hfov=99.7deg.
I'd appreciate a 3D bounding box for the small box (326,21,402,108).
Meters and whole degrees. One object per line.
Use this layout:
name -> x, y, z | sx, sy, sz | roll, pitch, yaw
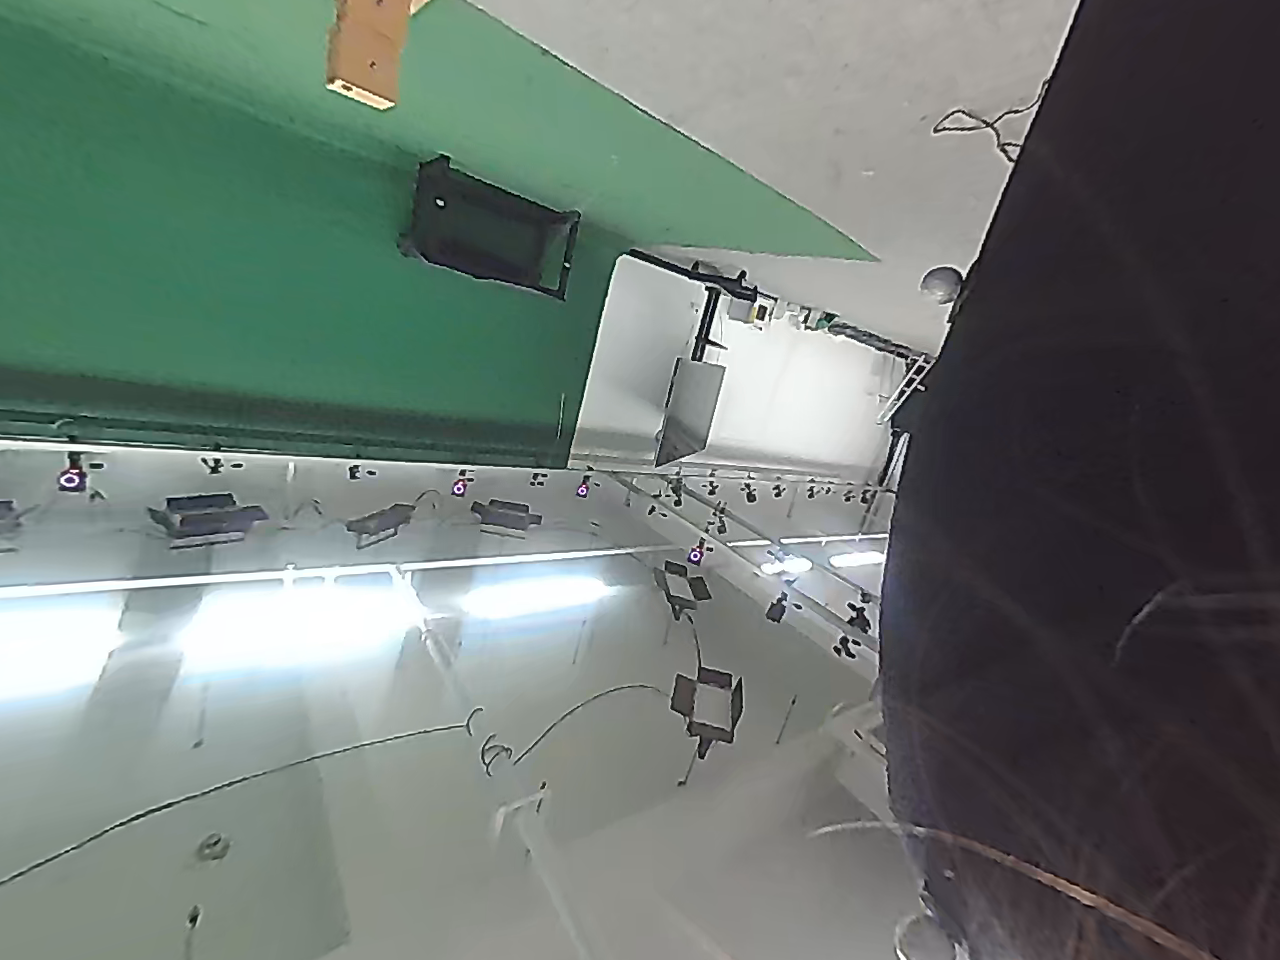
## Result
small box -> -0.887, -1.334, 1.736 | 0.179, 0.176, 0.168 | -3, -157, -43
